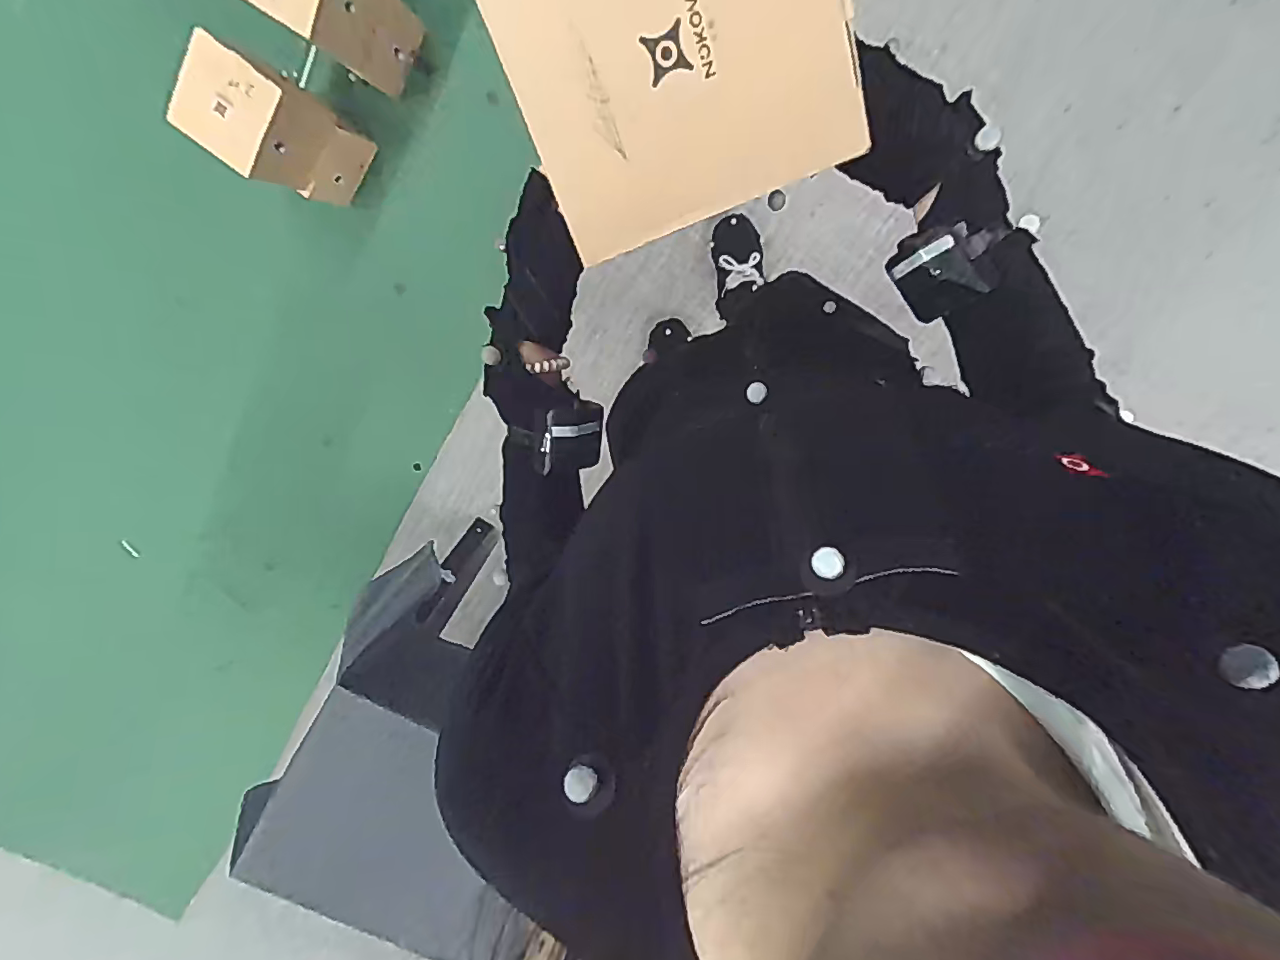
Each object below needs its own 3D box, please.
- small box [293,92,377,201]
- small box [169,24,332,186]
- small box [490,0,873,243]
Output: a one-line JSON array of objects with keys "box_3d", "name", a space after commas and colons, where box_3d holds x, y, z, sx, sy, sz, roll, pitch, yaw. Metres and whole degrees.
[{"box_3d": [-0.730, -0.751, 1.208, 0.179, 0.176, 0.168, 37, 108, -10], "name": "small box"}, {"box_3d": [-0.741, -0.707, 1.048, 0.168, 0.176, 0.179, 36, 108, -10], "name": "small box"}, {"box_3d": [0.022, -0.271, 0.346, 0.179, 0.176, 0.168, -17, 114, 12], "name": "small box"}]
